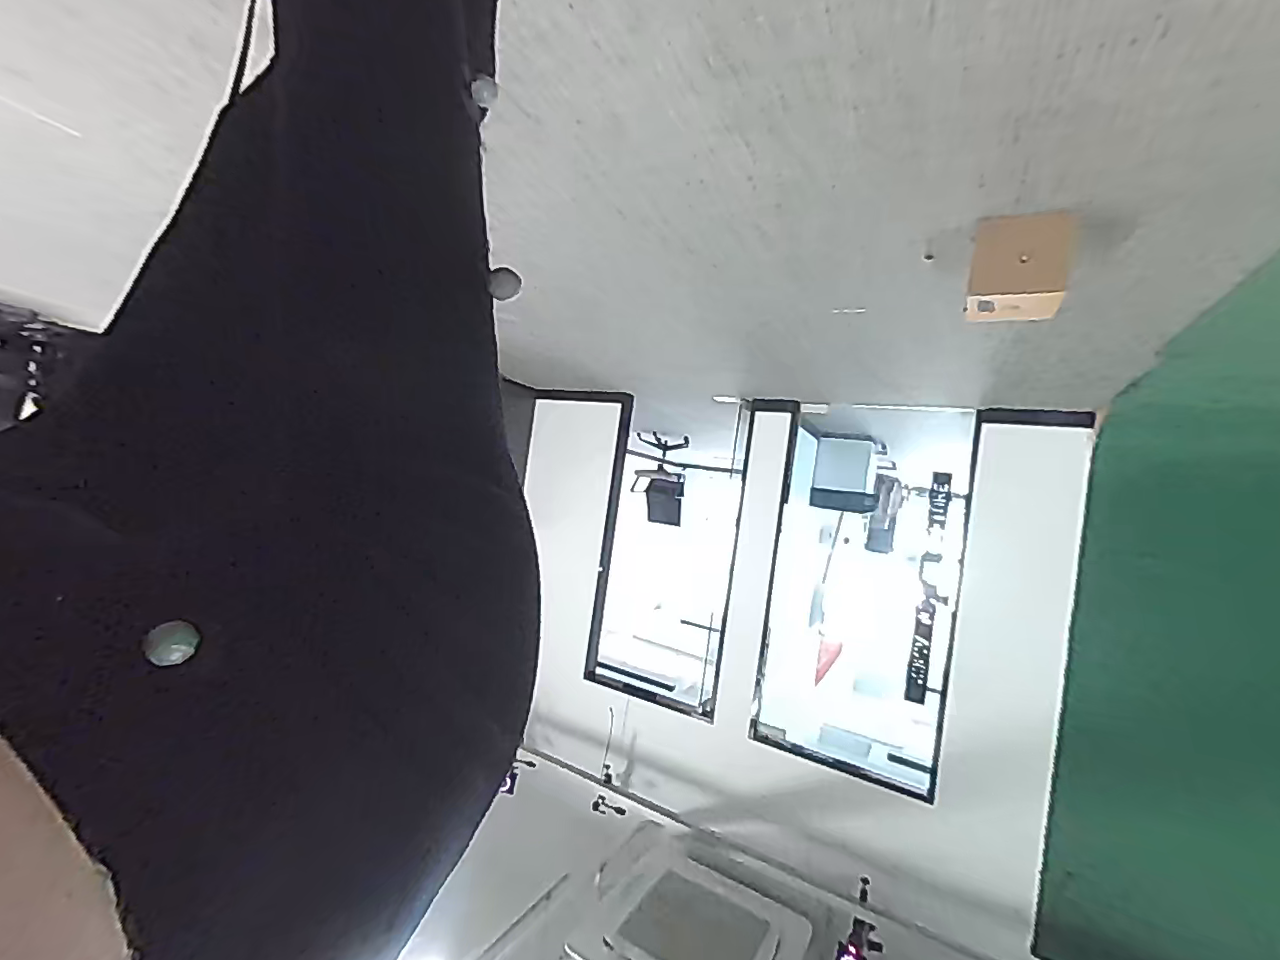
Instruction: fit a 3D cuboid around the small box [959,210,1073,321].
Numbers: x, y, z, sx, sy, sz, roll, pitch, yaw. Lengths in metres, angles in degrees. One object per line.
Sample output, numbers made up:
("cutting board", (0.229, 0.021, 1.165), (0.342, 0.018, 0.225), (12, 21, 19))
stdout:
("small box", (0.814, -0.462, 1.182), (0.179, 0.176, 0.168), (6, 179, 28))
